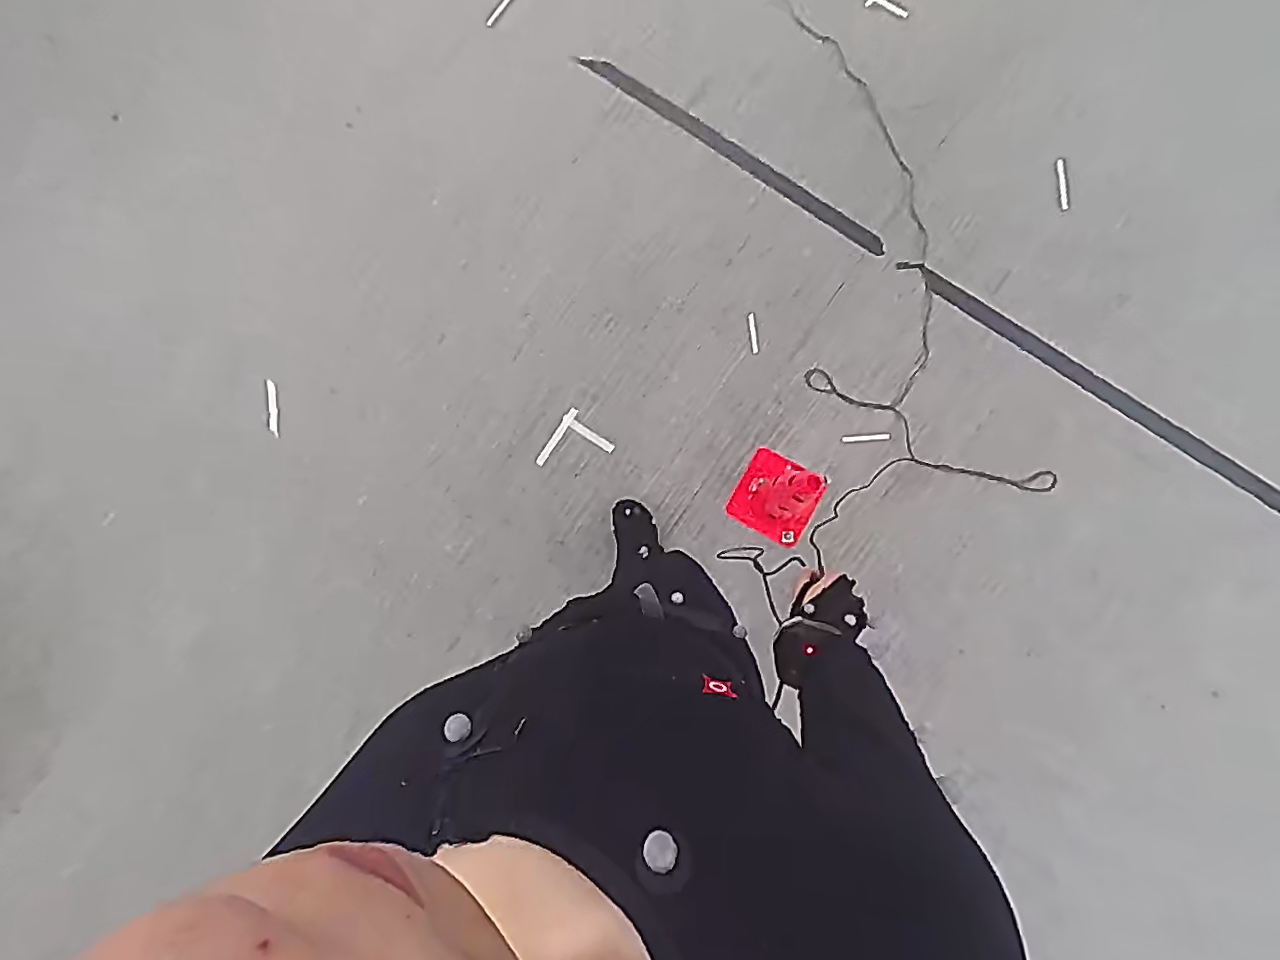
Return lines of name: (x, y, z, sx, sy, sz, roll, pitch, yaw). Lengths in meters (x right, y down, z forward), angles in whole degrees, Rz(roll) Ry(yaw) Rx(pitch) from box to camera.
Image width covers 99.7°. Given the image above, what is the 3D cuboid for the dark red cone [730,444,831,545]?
dark red cone: (0.332, 0.014, 1.163, 0.202, 0.394, 0.201, 28, 85, 6)
